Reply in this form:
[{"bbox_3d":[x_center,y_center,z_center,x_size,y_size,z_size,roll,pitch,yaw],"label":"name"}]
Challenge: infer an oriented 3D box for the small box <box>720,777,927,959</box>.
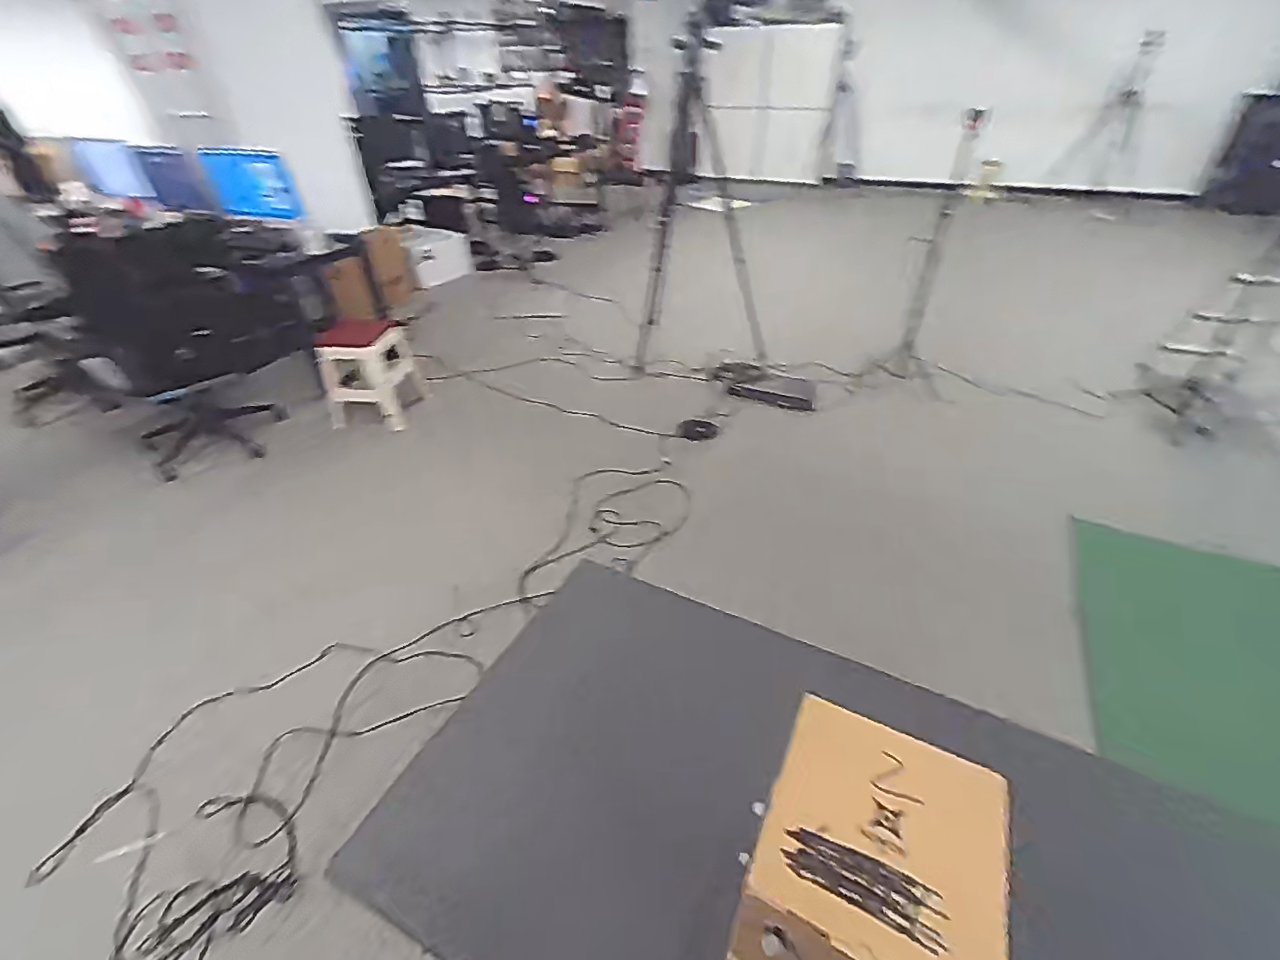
[{"bbox_3d":[0.186,0.466,0.570,0.168,0.176,0.179,15,40,20],"label":"small box"}]
